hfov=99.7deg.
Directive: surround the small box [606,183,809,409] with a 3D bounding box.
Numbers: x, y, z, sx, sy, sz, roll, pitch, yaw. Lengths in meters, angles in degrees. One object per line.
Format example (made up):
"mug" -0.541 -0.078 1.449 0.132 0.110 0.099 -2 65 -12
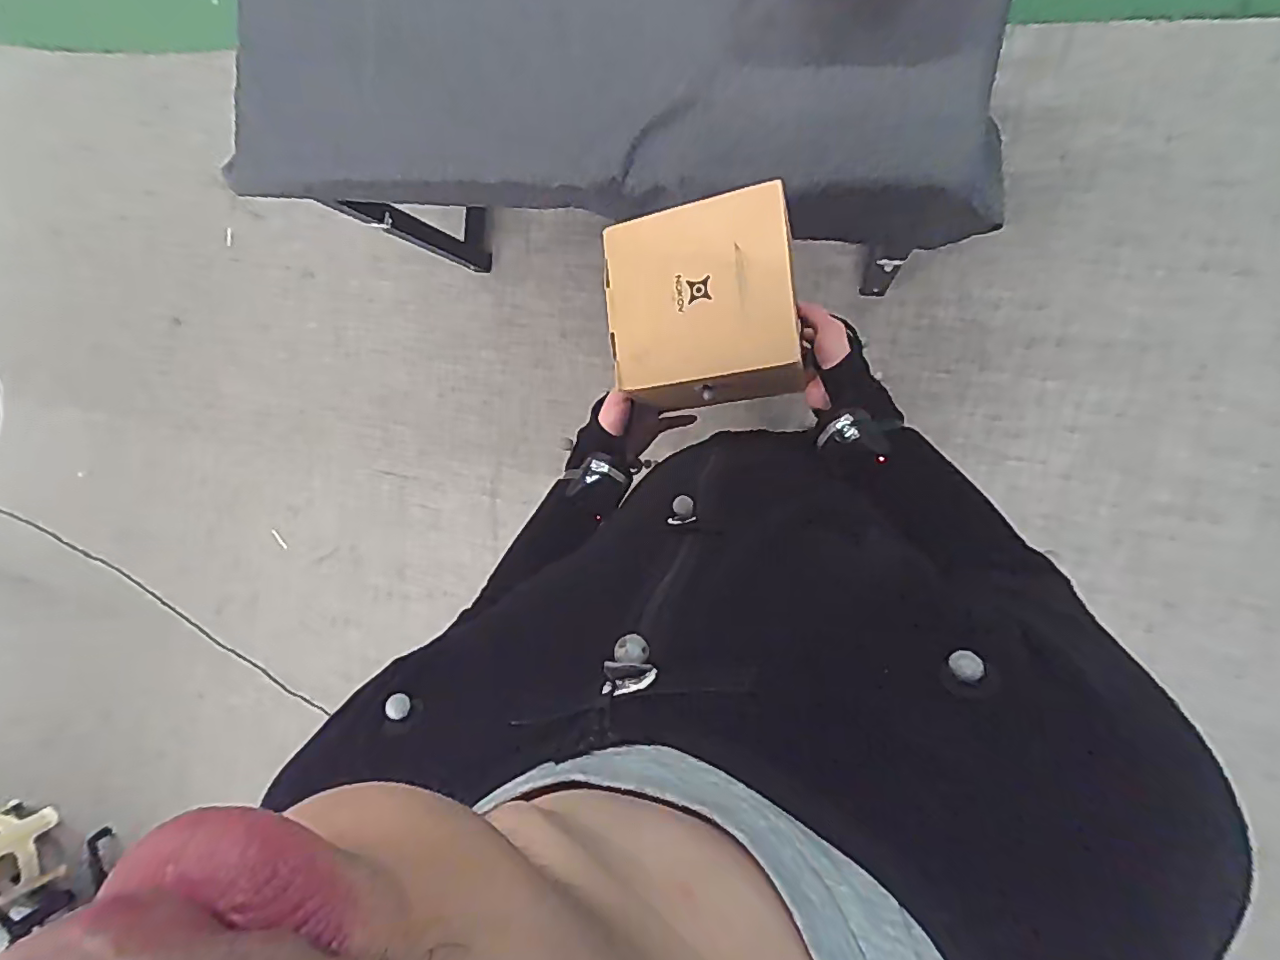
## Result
"small box" 0.081 -0.175 0.579 0.179 0.176 0.168 -6 89 18
